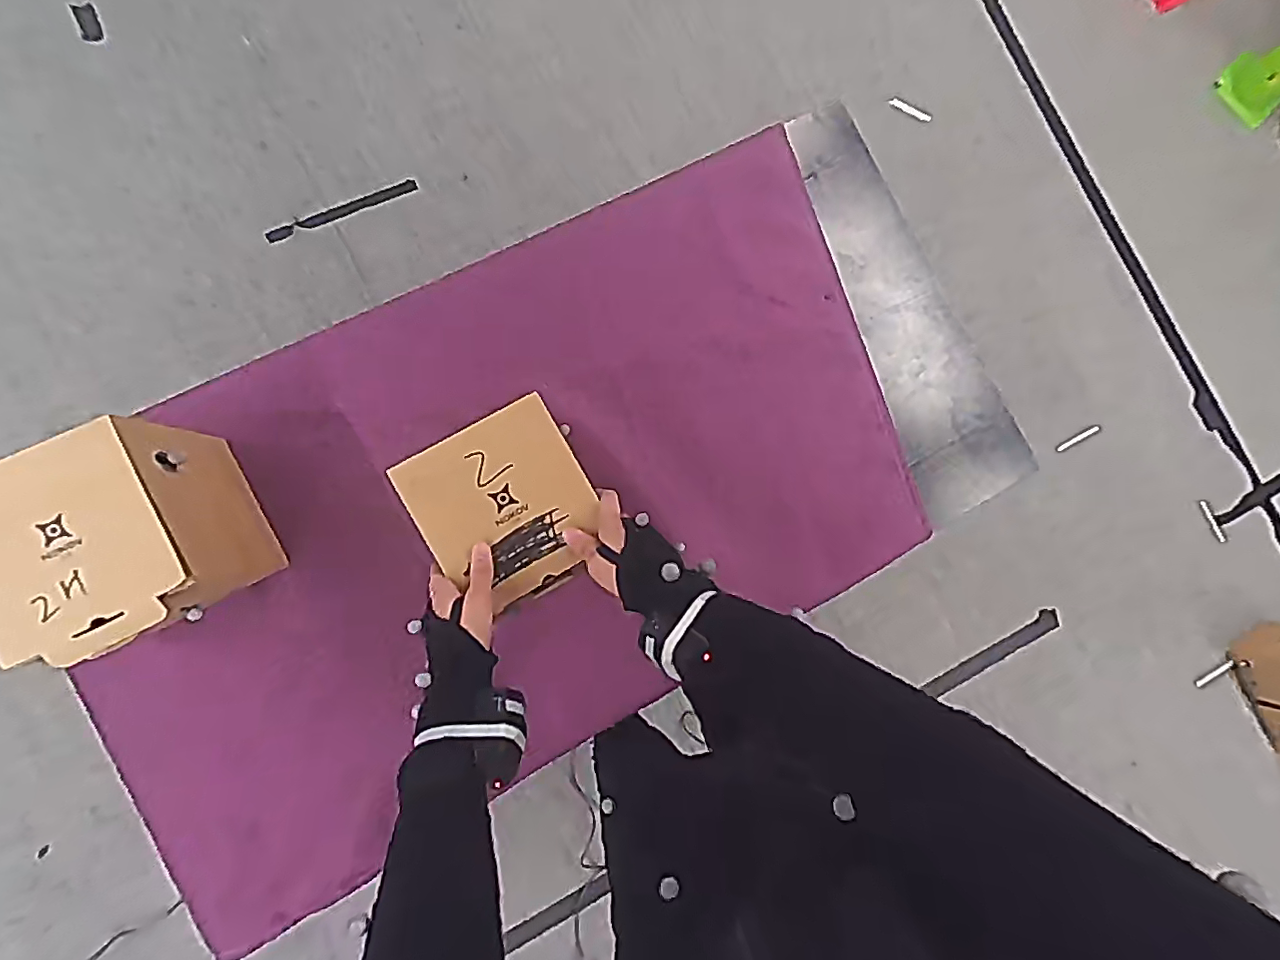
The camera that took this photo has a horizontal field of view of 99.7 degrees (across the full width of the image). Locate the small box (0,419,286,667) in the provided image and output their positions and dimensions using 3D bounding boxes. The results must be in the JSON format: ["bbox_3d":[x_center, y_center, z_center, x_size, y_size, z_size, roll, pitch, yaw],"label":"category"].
[{"bbox_3d":[-0.523,0.060,0.564,0.168,0.176,0.179,-27,90,-7],"label":"small box"}]
